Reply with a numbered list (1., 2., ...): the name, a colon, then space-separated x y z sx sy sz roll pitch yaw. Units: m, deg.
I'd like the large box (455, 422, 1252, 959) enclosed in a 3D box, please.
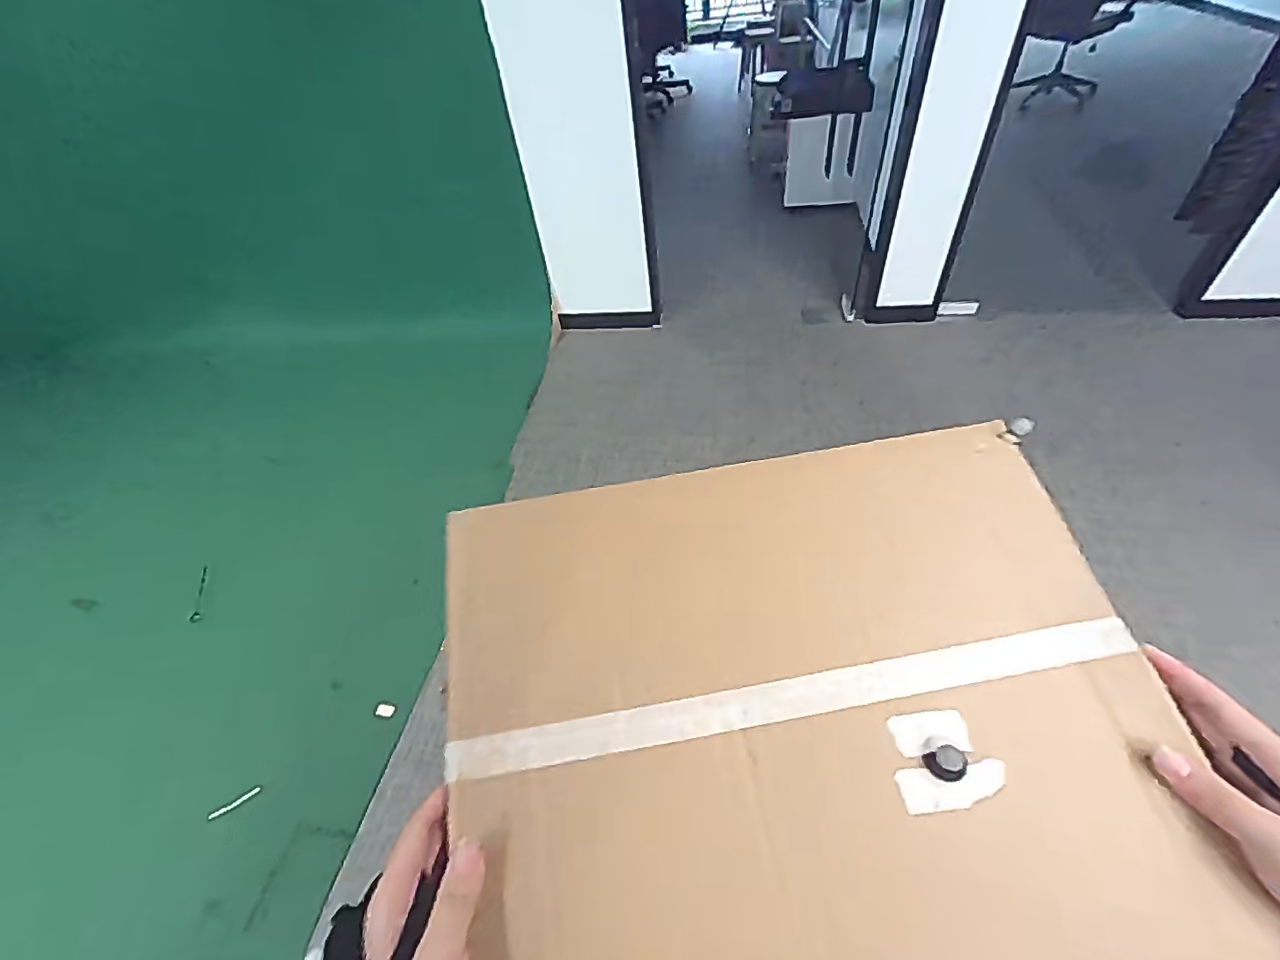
1. large box: 0.093 0.193 0.460 0.408 0.320 0.320 -10 63 -4
